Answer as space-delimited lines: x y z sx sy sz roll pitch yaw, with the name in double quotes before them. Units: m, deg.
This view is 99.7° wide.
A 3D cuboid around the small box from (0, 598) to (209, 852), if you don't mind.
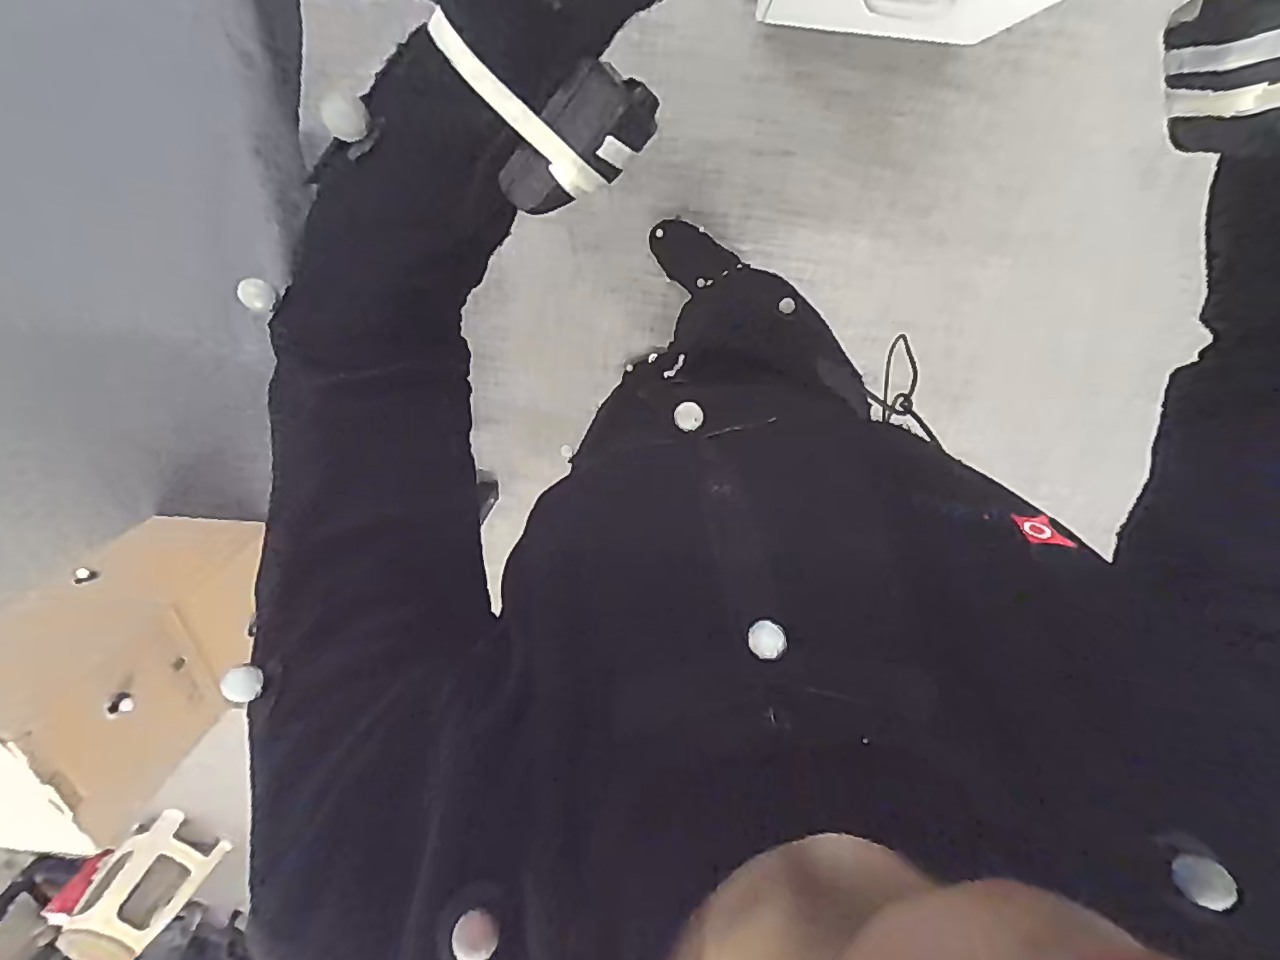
"small box" -0.587 0.234 0.544 0.179 0.176 0.168 2 118 5
